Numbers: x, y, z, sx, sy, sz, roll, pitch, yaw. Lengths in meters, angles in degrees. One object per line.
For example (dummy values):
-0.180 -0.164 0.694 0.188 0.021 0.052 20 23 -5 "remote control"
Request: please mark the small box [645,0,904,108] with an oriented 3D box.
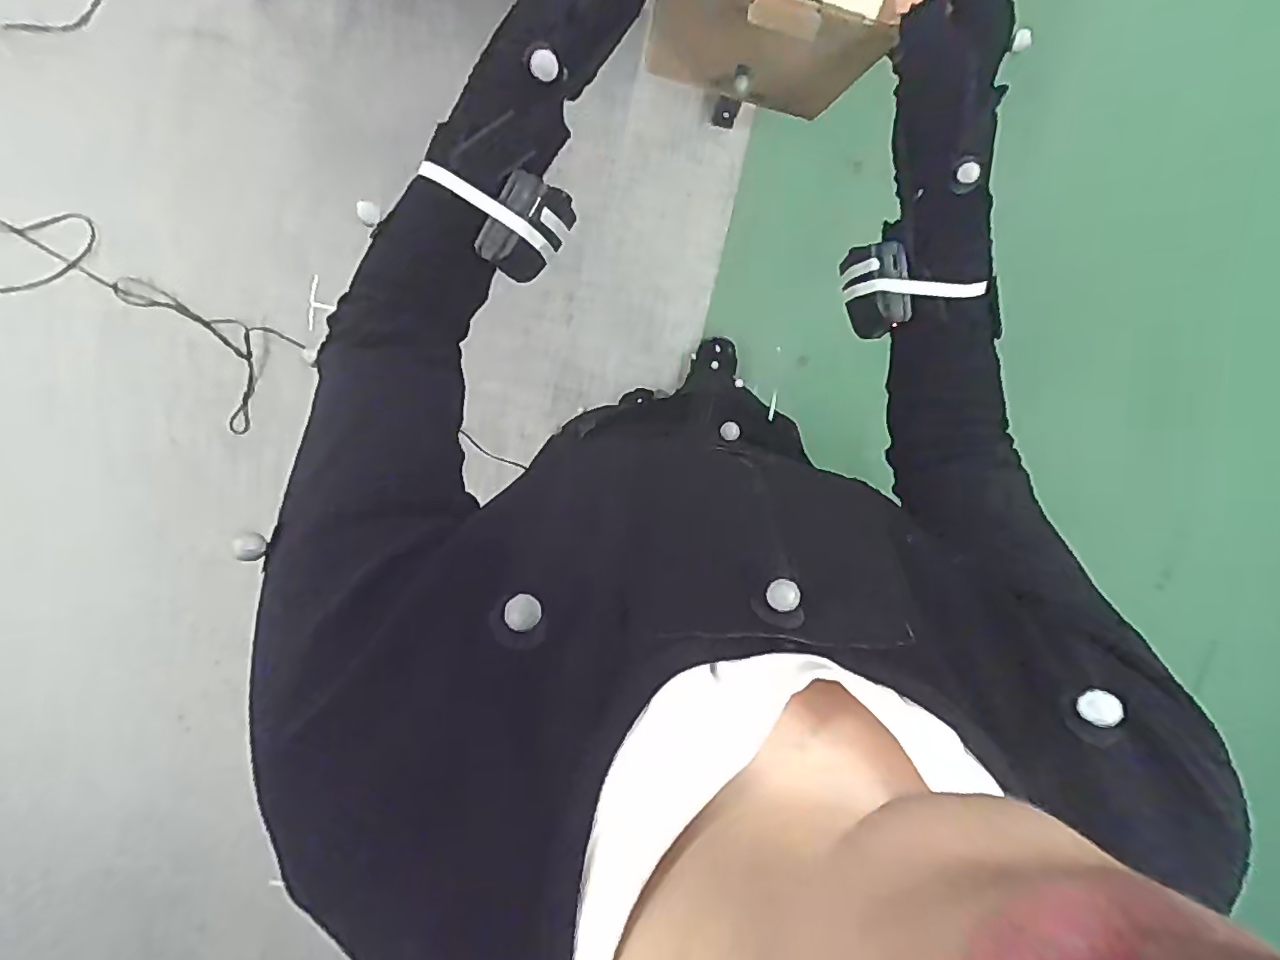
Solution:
0.101 -0.416 0.394 0.168 0.176 0.179 11 106 -6 "small box"
